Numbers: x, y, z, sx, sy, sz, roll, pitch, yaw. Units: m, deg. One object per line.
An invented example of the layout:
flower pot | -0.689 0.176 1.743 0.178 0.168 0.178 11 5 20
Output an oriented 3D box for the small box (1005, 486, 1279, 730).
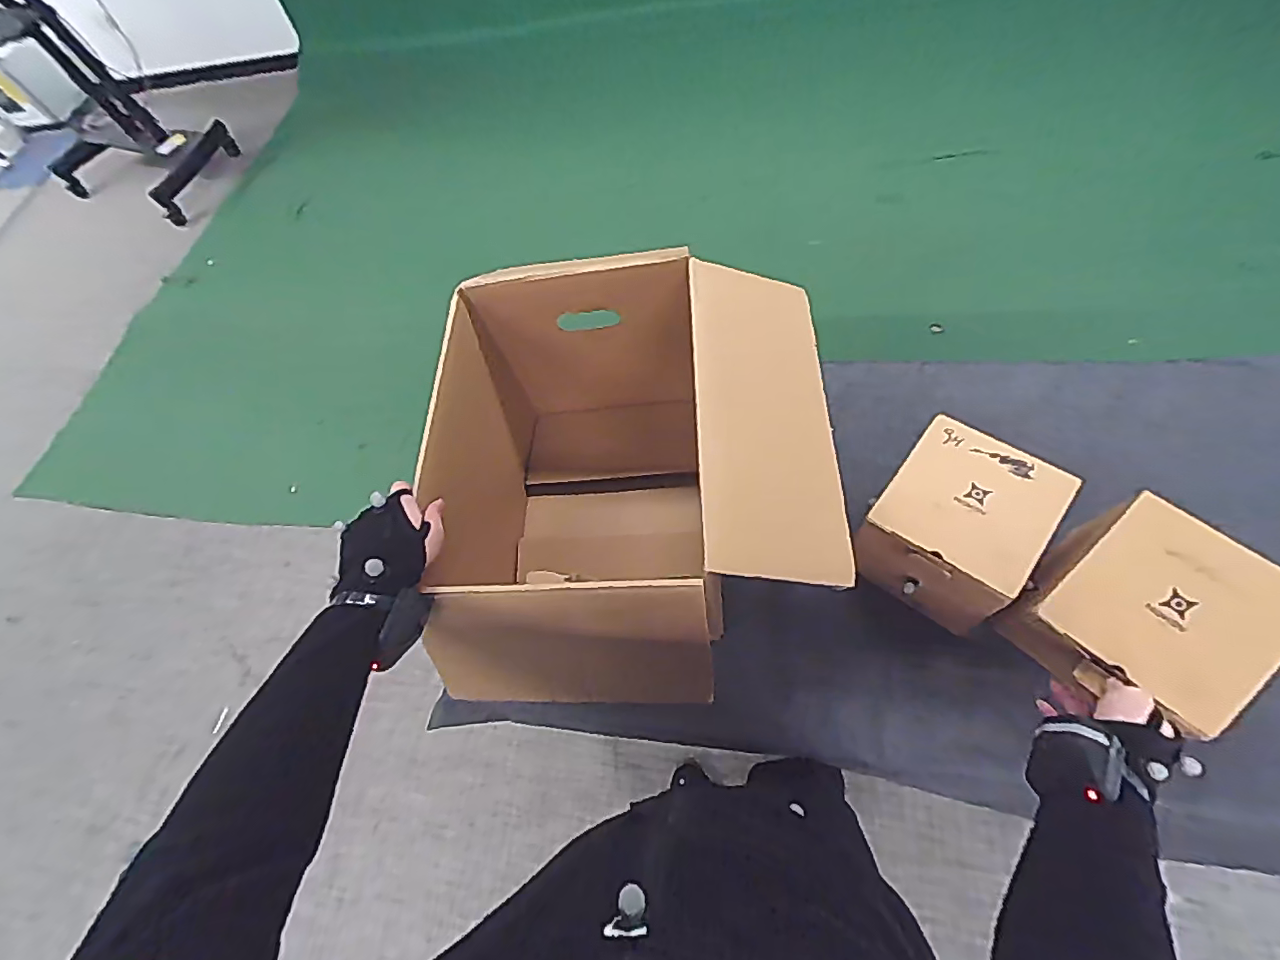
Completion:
small box | 0.542 0.141 0.594 0.168 0.176 0.179 42 88 25
